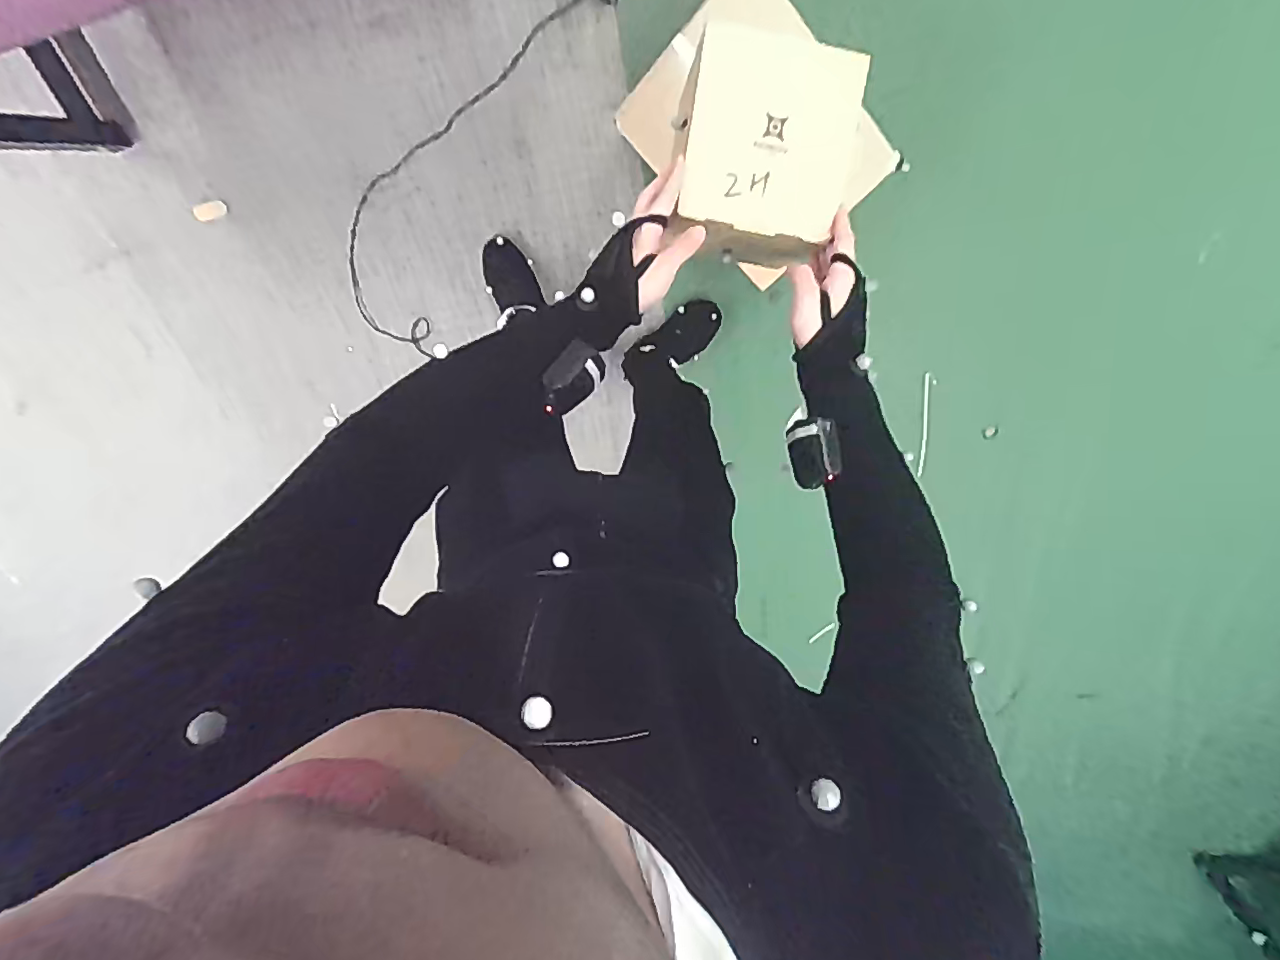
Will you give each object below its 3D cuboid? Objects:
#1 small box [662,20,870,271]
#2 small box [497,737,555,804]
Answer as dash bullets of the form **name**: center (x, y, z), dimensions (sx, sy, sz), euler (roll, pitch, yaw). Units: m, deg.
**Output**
- **small box**: center (0.123, -0.351, 0.606), dimensions (0.168, 0.176, 0.179), euler (8, 102, -6)
- **small box**: center (-0.446, 1.156, 2.155), dimensions (0.168, 0.176, 0.179), euler (-2, 118, 8)
